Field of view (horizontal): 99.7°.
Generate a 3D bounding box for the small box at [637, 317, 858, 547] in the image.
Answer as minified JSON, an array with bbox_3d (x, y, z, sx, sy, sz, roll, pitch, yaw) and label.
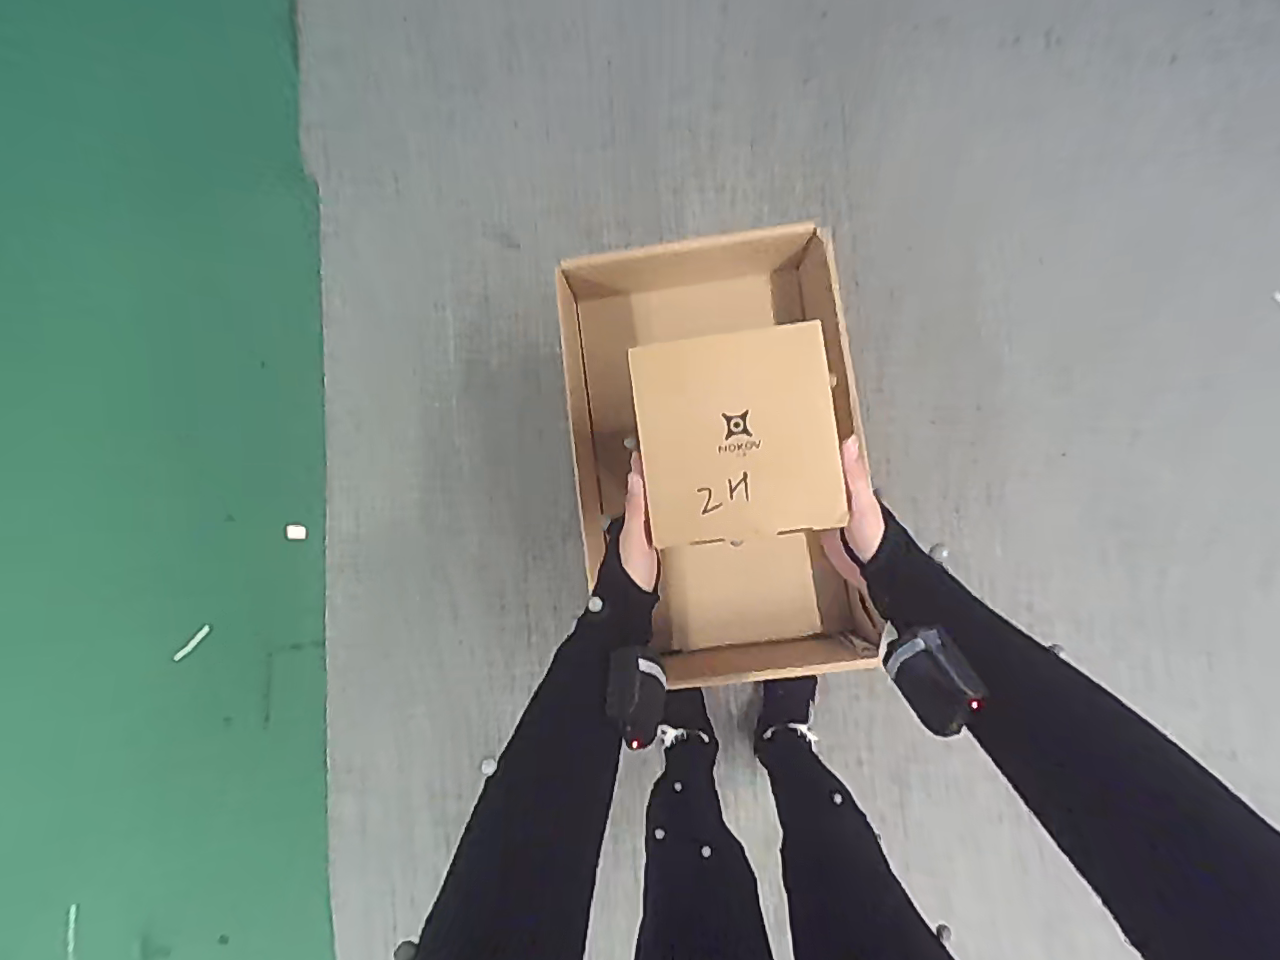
[{"bbox_3d":[0.090,-0.036,0.523,0.168,0.176,0.179,-8,88,3],"label":"small box"}]
